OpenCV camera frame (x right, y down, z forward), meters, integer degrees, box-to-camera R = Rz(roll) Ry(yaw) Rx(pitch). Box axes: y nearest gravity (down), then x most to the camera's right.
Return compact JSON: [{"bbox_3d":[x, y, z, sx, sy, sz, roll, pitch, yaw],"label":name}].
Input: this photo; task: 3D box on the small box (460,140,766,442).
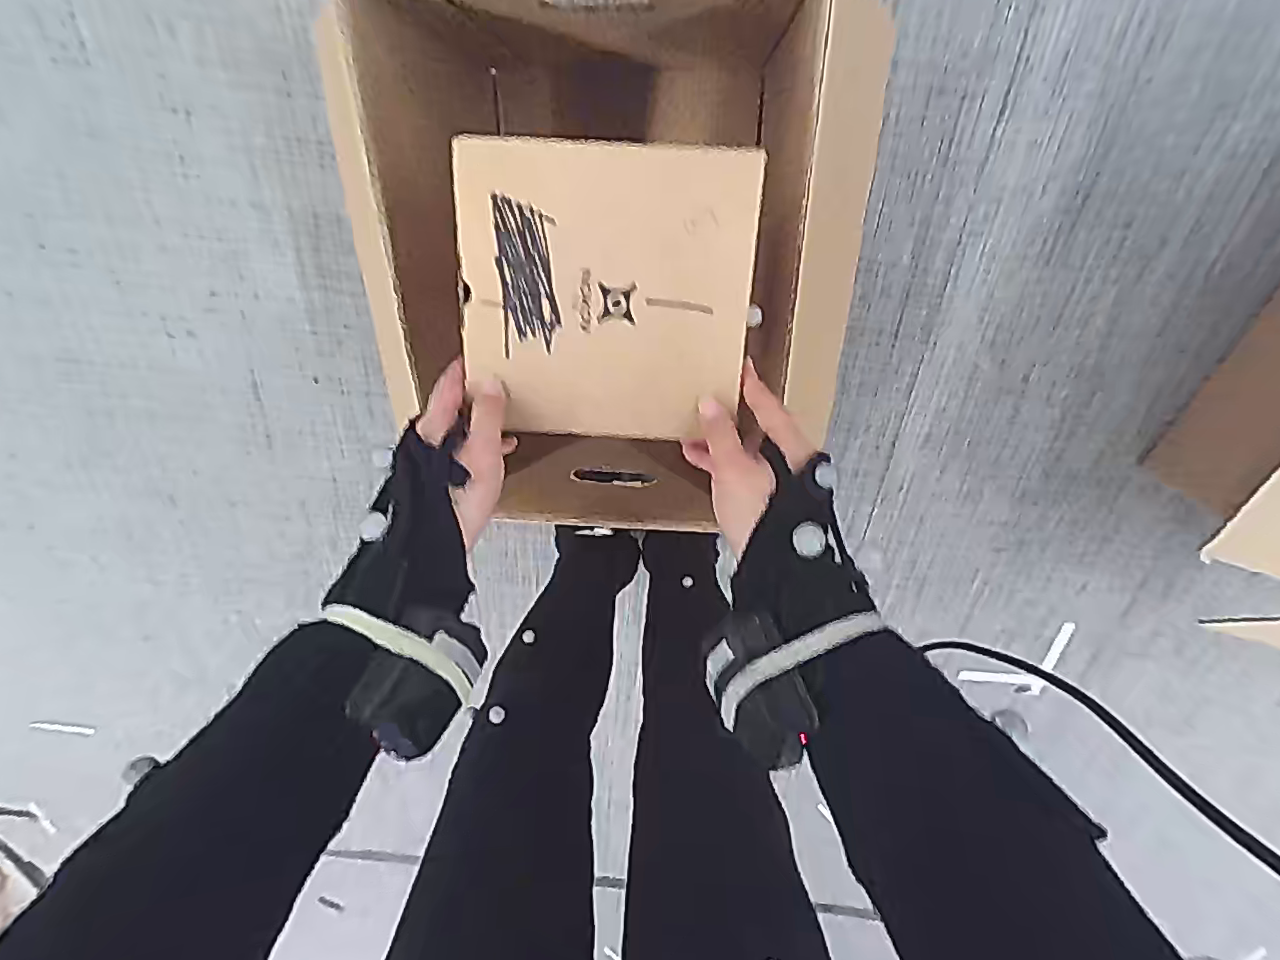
[{"bbox_3d":[-0.013,-0.133,0.400,0.179,0.176,0.168,5,109,5],"label":"small box"}]
